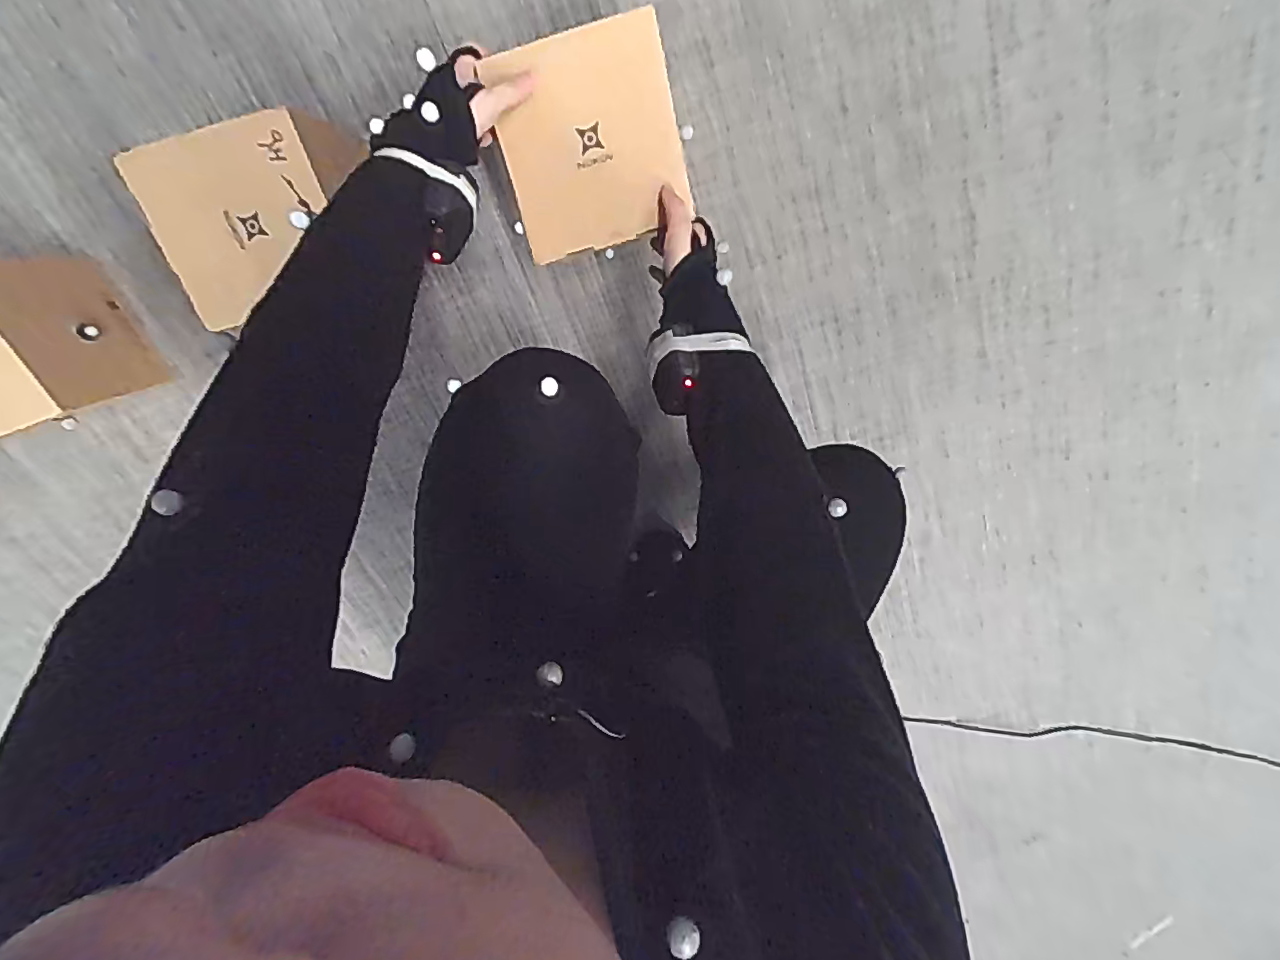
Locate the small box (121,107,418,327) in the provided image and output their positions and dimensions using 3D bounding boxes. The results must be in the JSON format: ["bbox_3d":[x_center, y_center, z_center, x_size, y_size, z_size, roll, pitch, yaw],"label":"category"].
[{"bbox_3d":[-0.381,-0.277,0.597,0.179,0.176,0.168,-13,113,4],"label":"small box"}]

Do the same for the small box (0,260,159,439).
[{"bbox_3d":[-0.732,-0.152,0.637,0.179,0.176,0.168,-18,112,5],"label":"small box"}]

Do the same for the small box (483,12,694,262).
[{"bbox_3d":[-0.047,-0.344,0.581,0.168,0.176,0.179,-14,113,4],"label":"small box"}]
